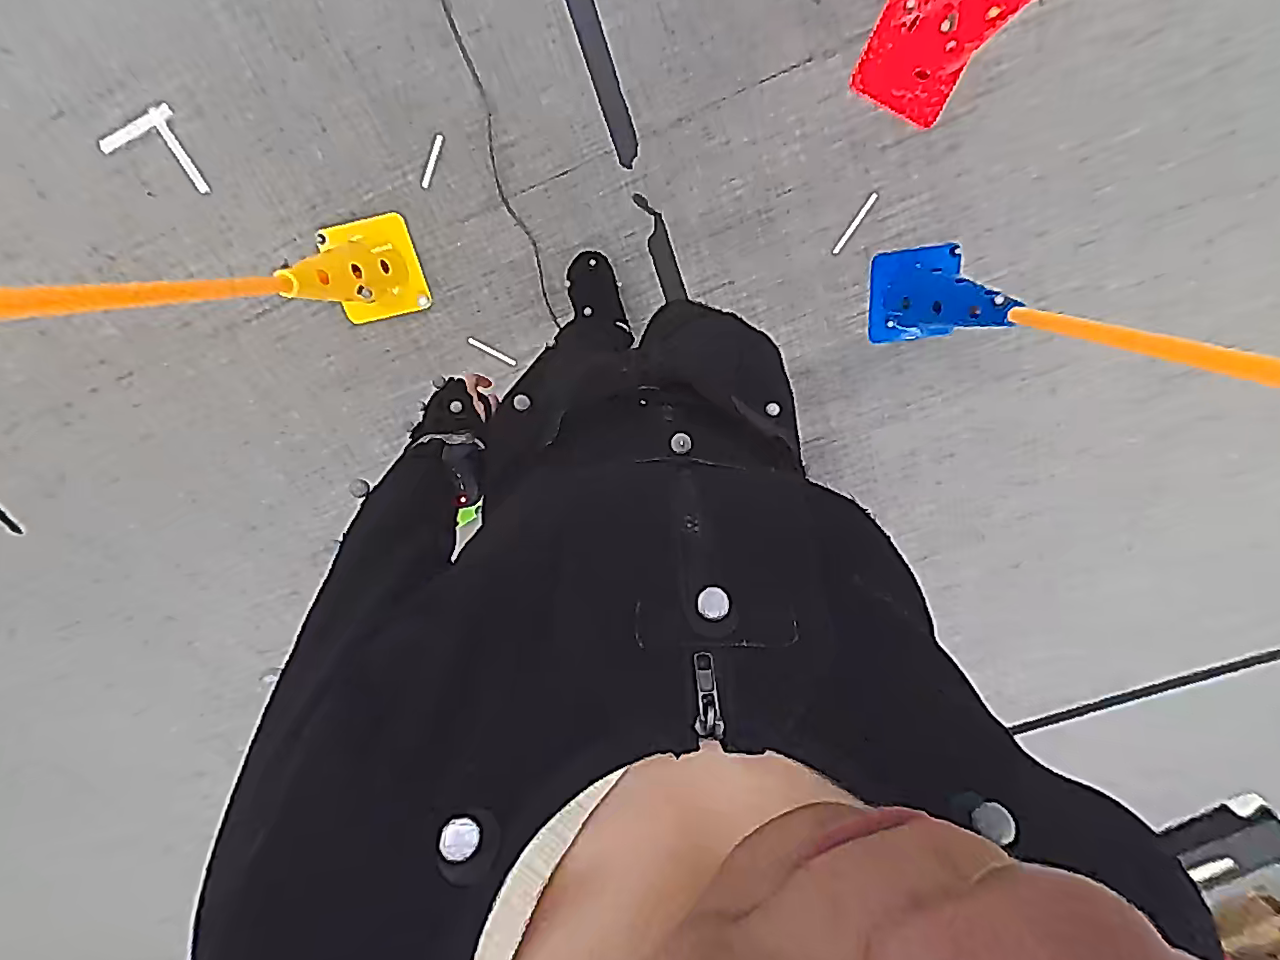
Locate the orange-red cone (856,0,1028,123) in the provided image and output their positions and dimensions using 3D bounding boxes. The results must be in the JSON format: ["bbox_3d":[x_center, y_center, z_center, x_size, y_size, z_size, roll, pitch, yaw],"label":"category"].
[{"bbox_3d":[0.540,-0.758,0.882,0.198,0.360,0.199,22,112,-10],"label":"orange-red cone"}]

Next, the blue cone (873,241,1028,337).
[{"bbox_3d":[0.623,-0.364,1.068,0.193,0.380,0.192,-6,112,1],"label":"blue cone"}]

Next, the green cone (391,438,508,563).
[{"bbox_3d":[-0.462,0.079,1.217,0.200,0.368,0.202,-33,109,12],"label":"green cone"}]
